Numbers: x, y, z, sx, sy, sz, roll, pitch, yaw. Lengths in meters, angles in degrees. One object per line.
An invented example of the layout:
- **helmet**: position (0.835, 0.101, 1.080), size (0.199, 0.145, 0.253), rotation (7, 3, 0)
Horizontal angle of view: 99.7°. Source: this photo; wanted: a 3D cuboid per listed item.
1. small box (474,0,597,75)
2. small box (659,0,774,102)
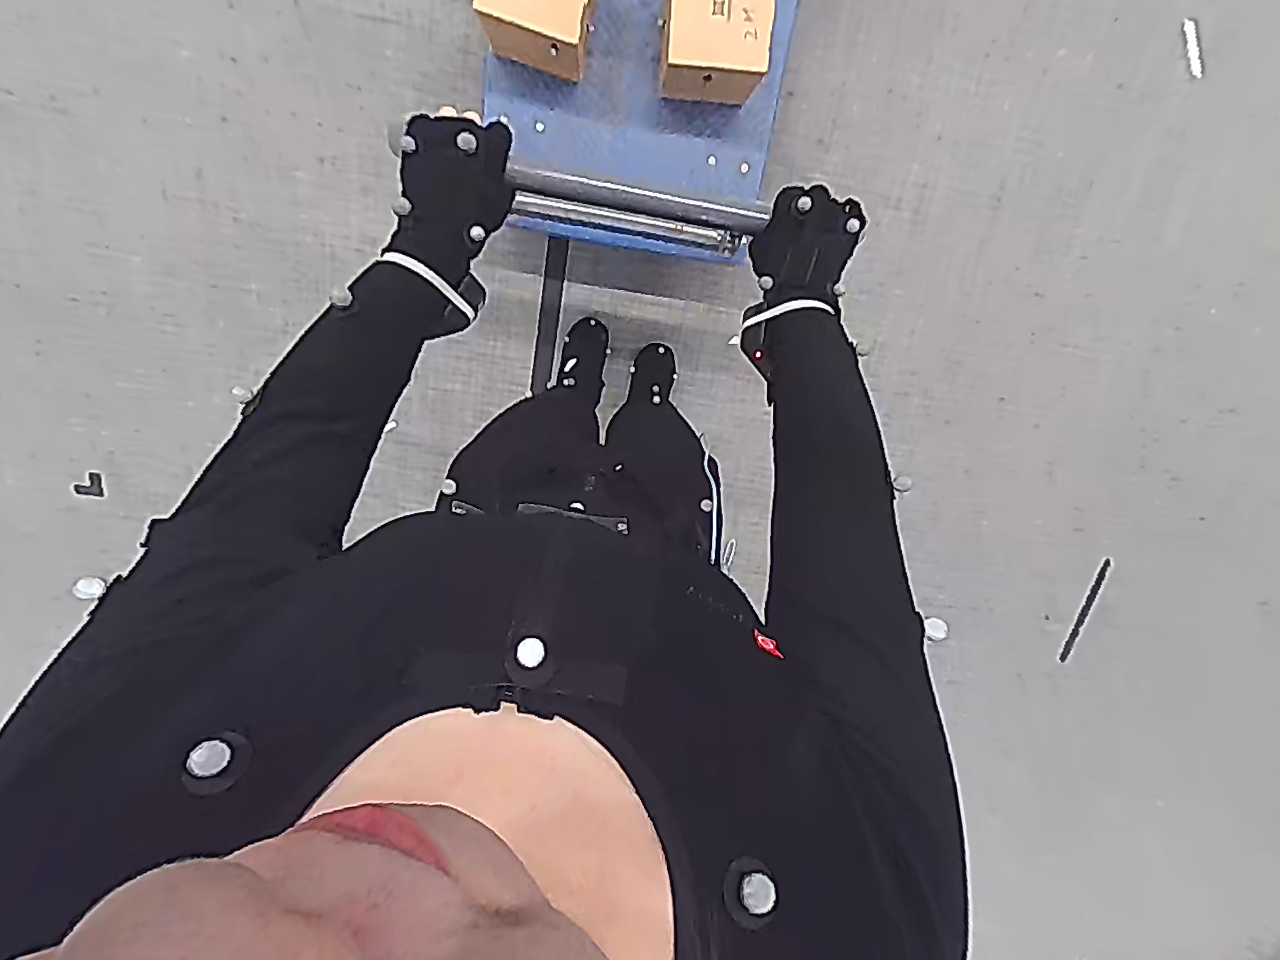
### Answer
- **small box**: position (-0.172, -0.843, 0.936), size (0.179, 0.176, 0.168), rotation (12, 108, -10)
- **small box**: position (0.131, -0.806, 0.972), size (0.179, 0.176, 0.168), rotation (2, 109, -5)
